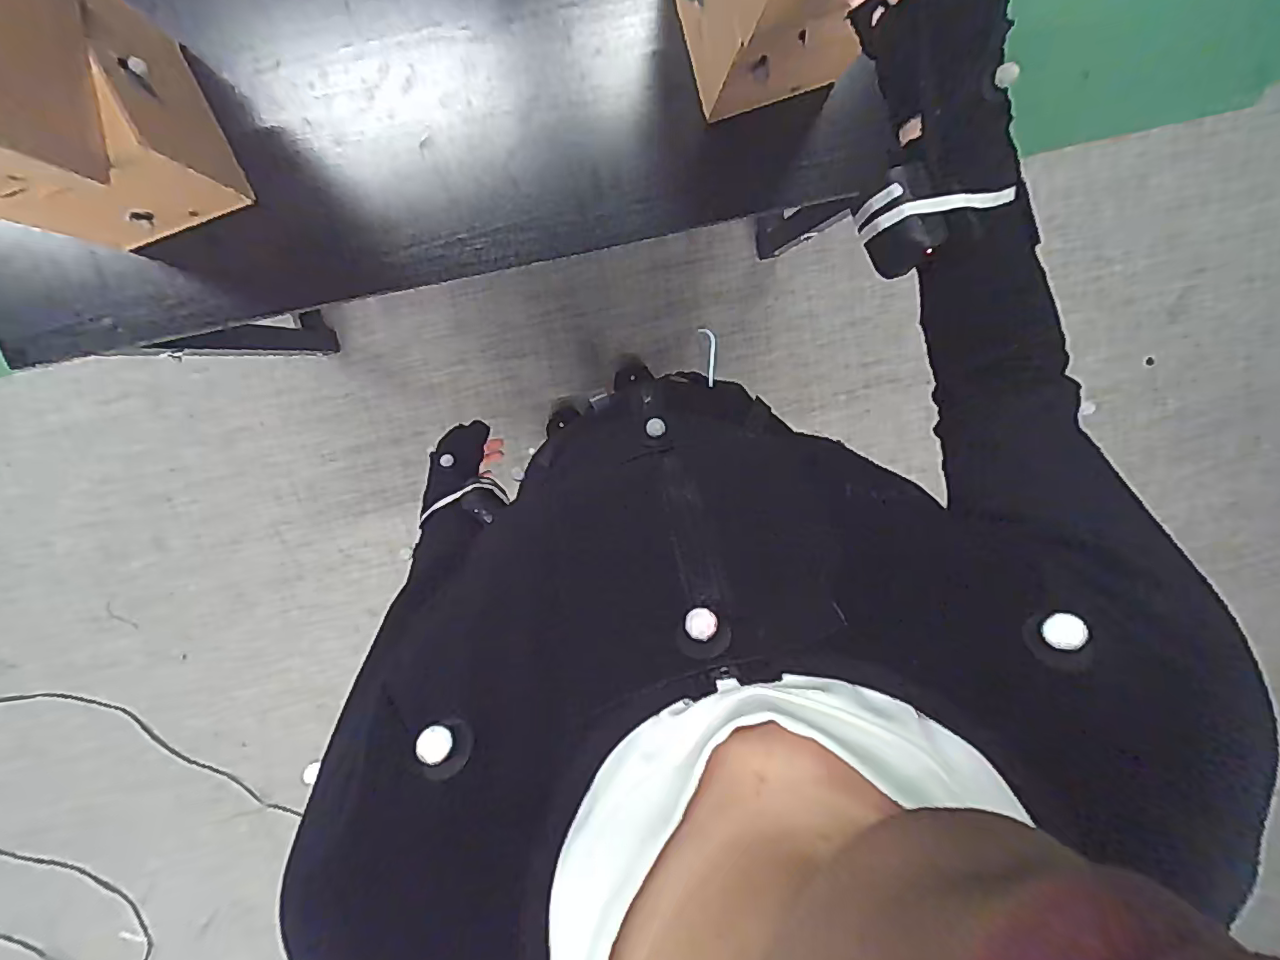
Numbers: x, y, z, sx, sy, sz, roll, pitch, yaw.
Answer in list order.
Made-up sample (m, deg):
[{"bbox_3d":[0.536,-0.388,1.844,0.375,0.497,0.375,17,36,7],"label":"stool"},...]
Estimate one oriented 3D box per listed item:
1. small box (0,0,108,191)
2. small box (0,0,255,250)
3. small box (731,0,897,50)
[{"bbox_3d":[-0.531,-0.318,0.374,0.168,0.176,0.179,0,102,-5],"label":"small box"},{"bbox_3d":[-0.541,-0.354,0.534,0.168,0.176,0.179,-21,104,0],"label":"small box"},{"bbox_3d":[0.147,-0.474,0.392,0.168,0.176,0.179,-20,103,1],"label":"small box"}]
